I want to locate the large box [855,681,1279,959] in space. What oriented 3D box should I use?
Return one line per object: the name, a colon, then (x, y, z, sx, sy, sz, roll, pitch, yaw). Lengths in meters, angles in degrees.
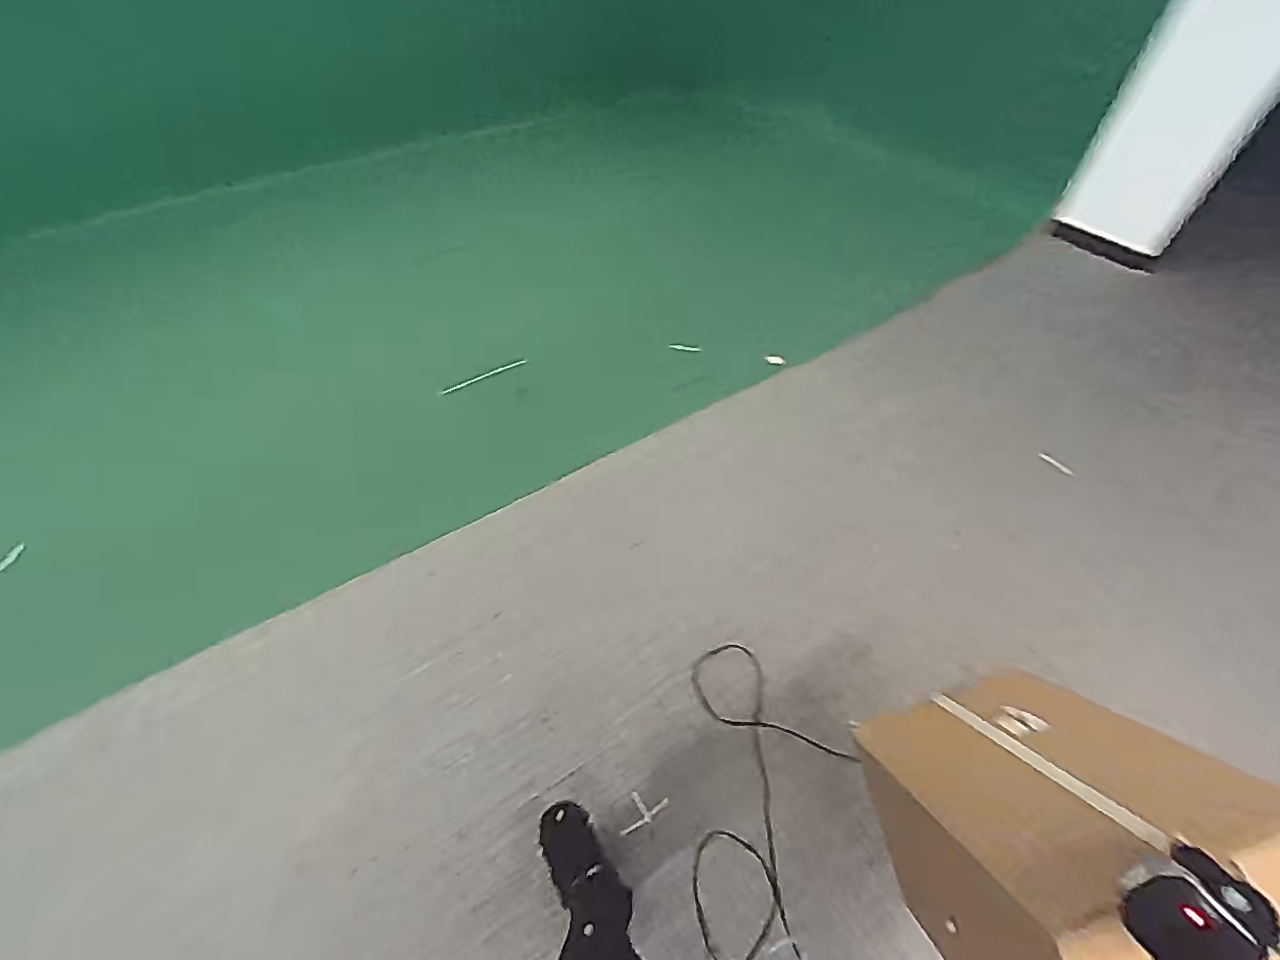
large box: (0.565, 0.529, 0.719, 0.320, 0.408, 0.320, -17, 90, -4)
